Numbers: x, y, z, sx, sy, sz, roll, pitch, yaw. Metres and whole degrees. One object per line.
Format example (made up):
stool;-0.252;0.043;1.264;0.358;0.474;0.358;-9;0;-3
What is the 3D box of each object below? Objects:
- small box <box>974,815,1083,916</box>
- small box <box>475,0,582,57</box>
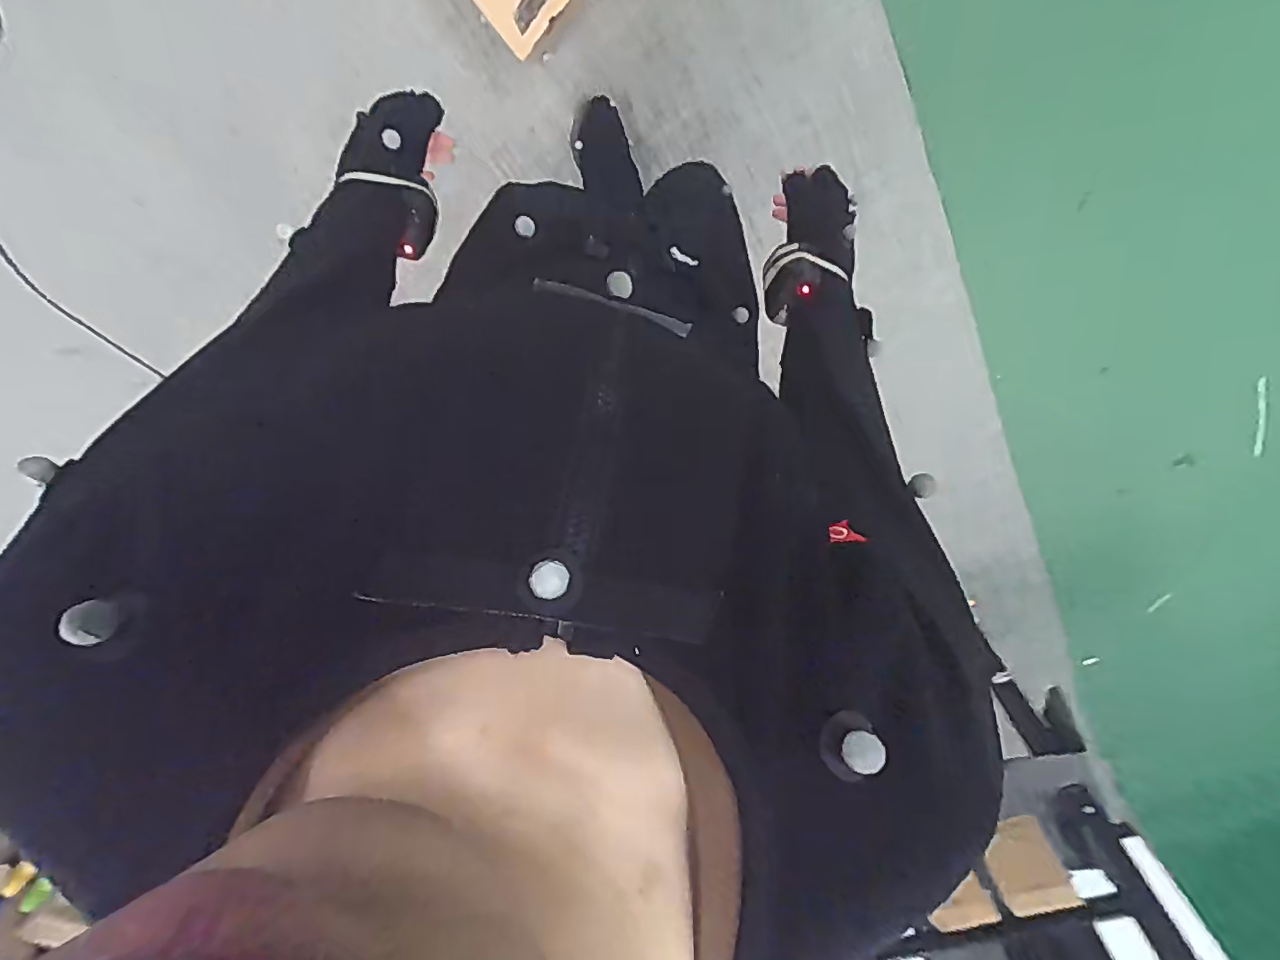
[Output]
small box;1.033;1.028;1.446;0.168;0.176;0.179;-29;122;18
small box;-0.207;-0.886;0.945;0.168;0.176;0.179;-36;119;21
